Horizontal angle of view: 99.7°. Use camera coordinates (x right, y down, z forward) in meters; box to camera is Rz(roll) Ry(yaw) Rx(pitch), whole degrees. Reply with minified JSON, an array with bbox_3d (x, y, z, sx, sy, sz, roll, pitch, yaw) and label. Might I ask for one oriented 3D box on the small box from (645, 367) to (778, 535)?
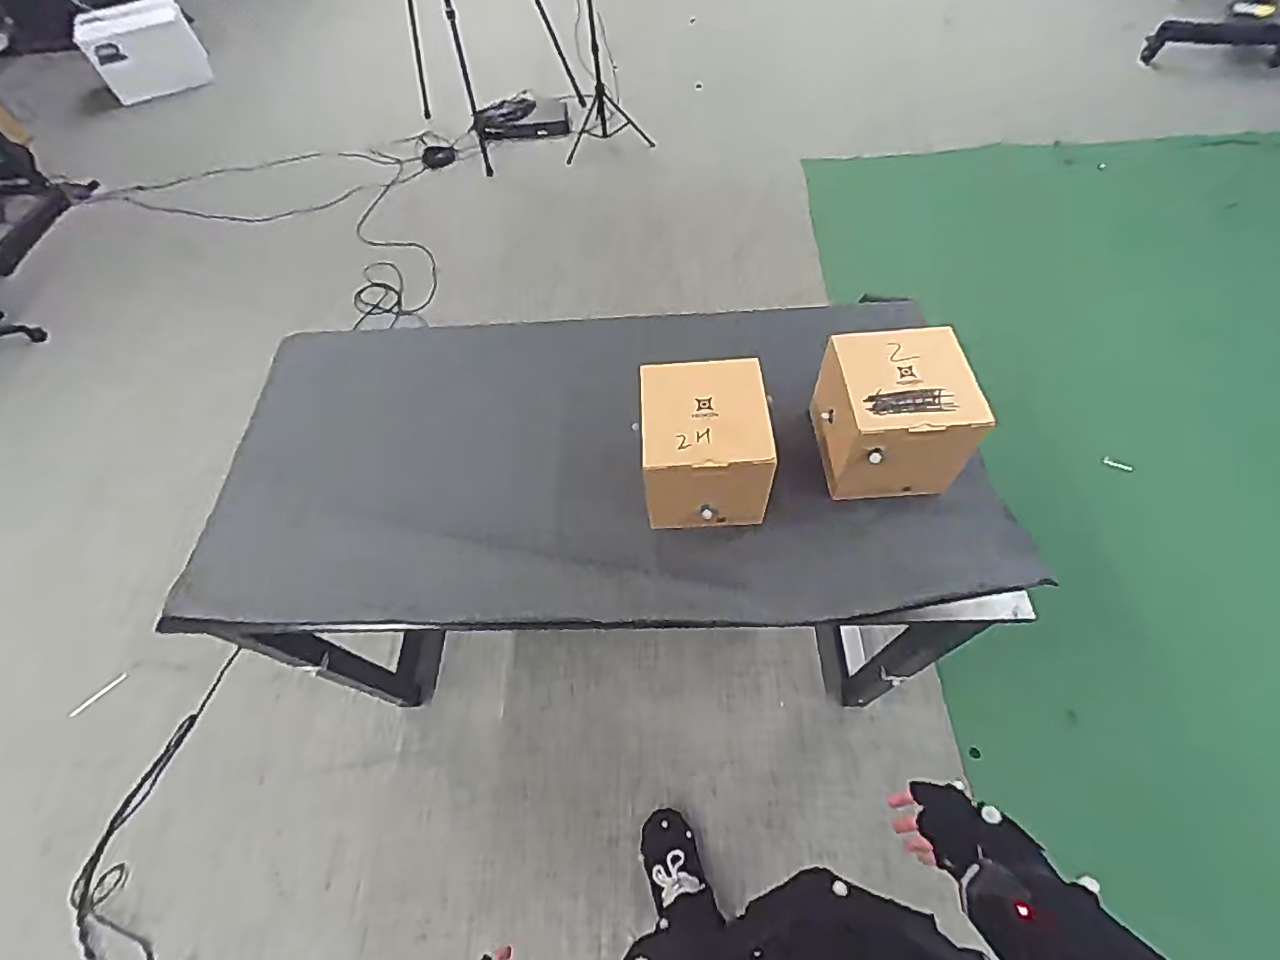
[{"bbox_3d":[0.093,-0.037,0.773,0.168,0.176,0.179,-3,57,3],"label":"small box"}]
